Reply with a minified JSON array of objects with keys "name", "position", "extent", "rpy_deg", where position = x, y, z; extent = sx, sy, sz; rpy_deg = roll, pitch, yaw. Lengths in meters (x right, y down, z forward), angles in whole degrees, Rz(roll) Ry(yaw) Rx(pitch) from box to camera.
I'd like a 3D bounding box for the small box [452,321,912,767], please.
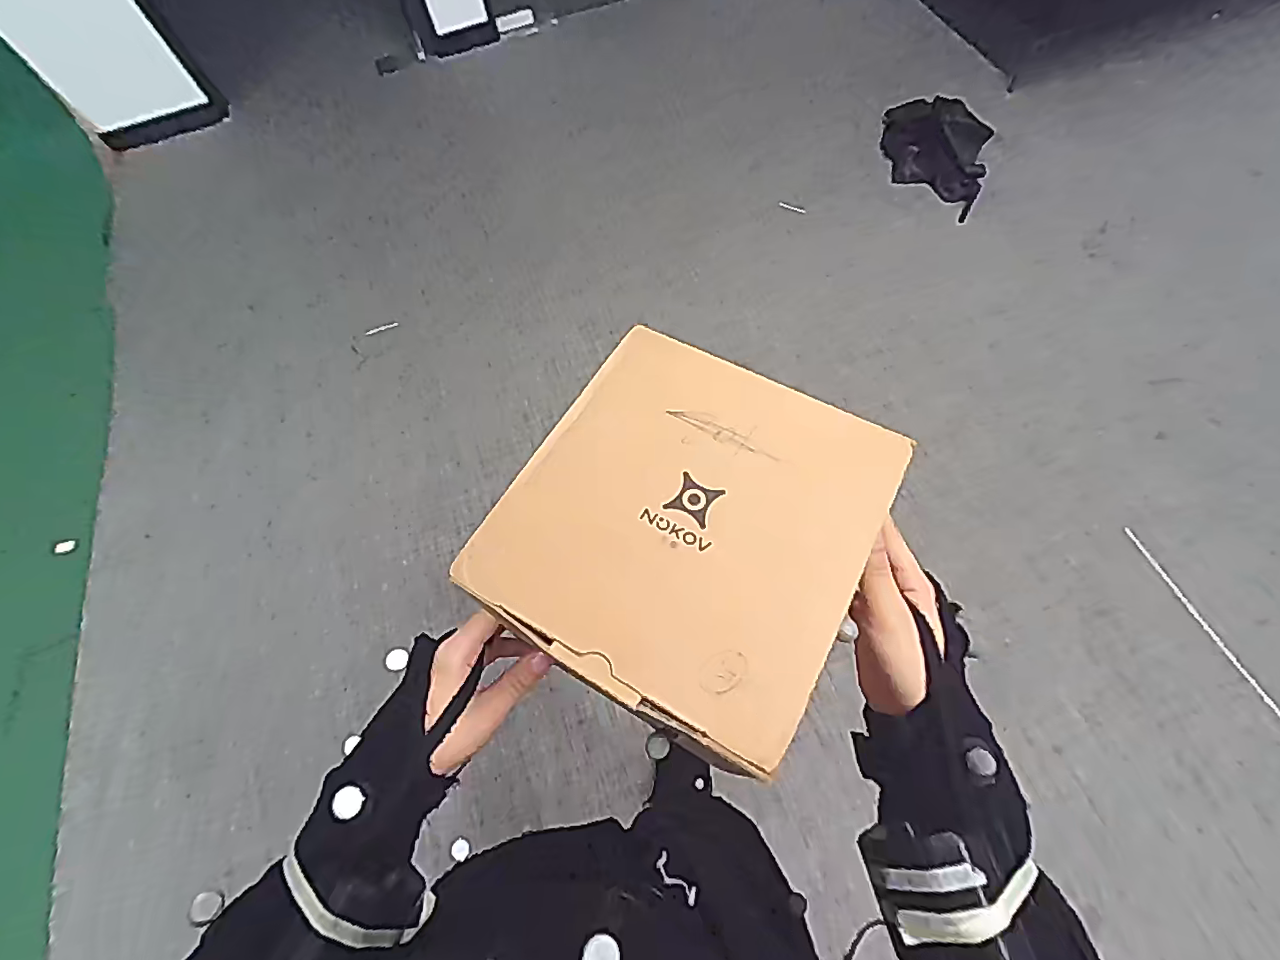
[{"name":"small box","position":[0.027,0.046,0.330],"extent":[0.168,0.176,0.179],"rpy_deg":[27,66,14]}]
